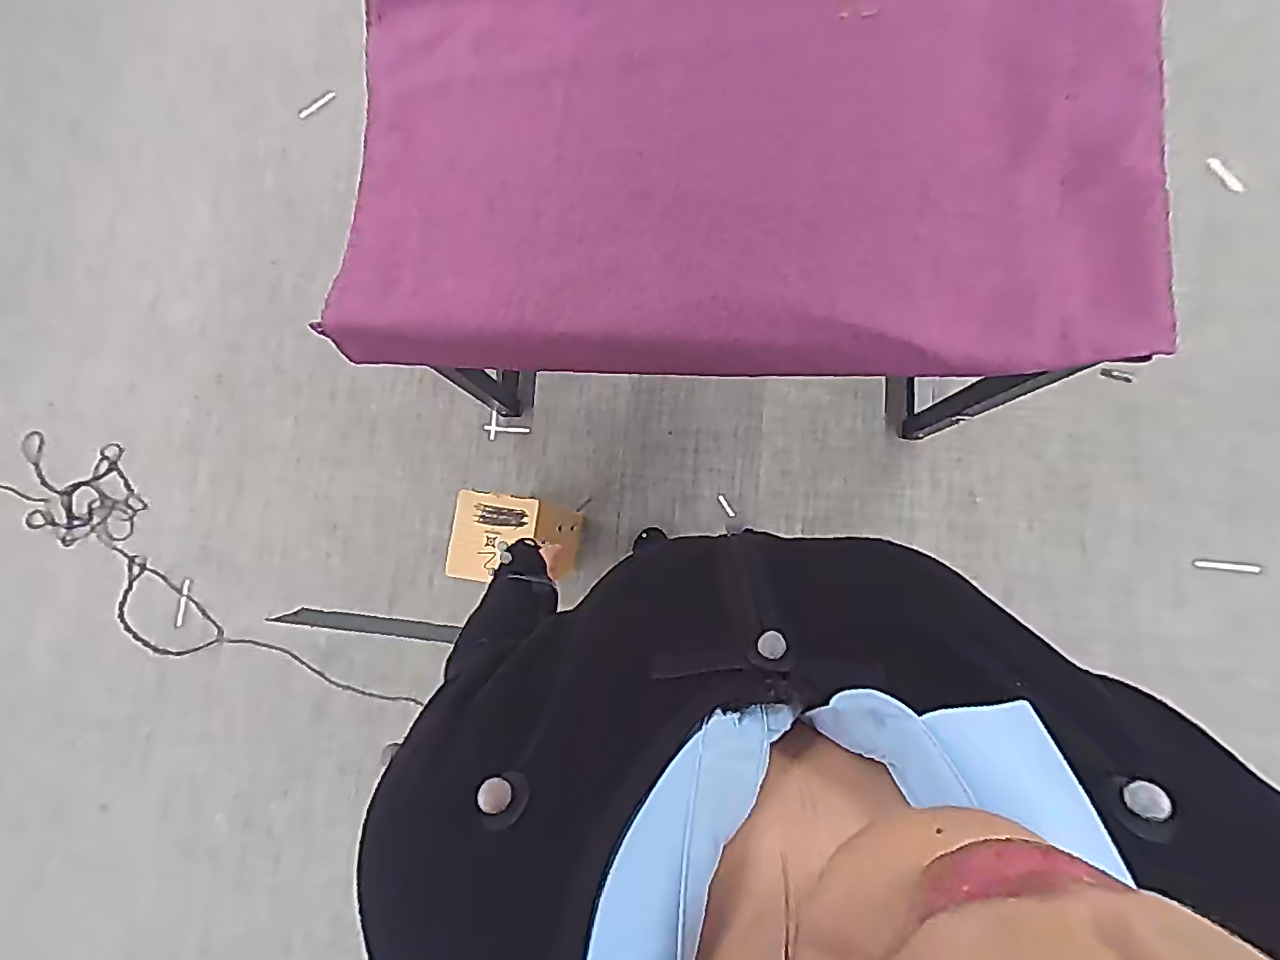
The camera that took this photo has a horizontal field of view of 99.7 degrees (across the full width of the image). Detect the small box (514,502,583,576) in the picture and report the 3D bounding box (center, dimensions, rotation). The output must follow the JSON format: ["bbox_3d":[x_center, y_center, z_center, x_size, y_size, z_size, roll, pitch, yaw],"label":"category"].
[{"bbox_3d":[-0.259,0.165,1.459,0.168,0.176,0.179,10,85,5],"label":"small box"}]

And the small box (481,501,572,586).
[{"bbox_3d":[-0.263,0.151,1.295,0.168,0.176,0.179,5,84,5],"label":"small box"}]
